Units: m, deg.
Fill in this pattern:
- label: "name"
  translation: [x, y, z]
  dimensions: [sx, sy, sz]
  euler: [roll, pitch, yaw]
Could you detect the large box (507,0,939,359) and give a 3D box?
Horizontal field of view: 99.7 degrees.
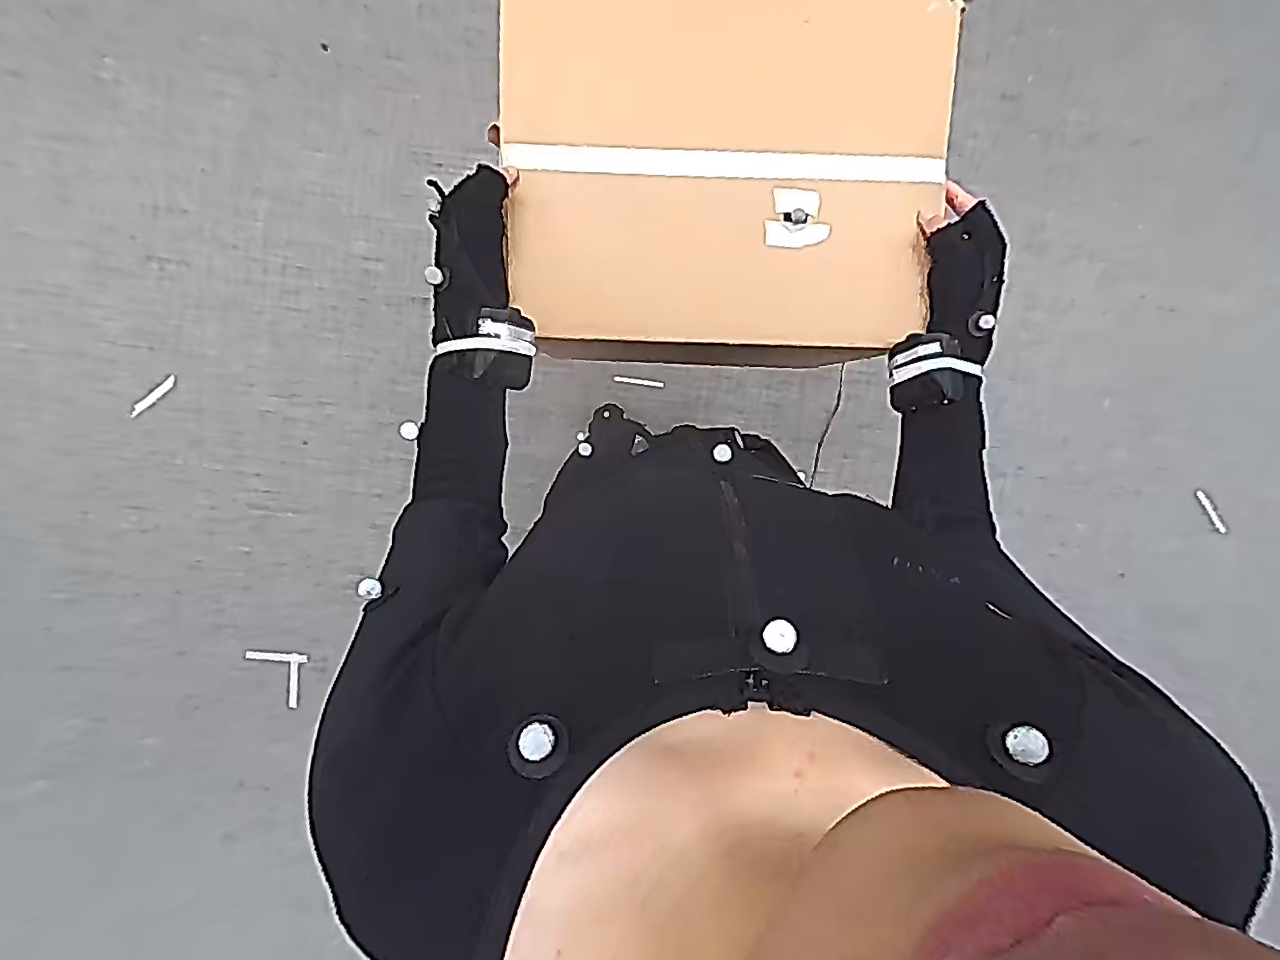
- label: "large box"
  translation: [0.070, -0.318, 0.659]
  dimensions: [0.408, 0.320, 0.320]
  euler: [1, 99, -2]
